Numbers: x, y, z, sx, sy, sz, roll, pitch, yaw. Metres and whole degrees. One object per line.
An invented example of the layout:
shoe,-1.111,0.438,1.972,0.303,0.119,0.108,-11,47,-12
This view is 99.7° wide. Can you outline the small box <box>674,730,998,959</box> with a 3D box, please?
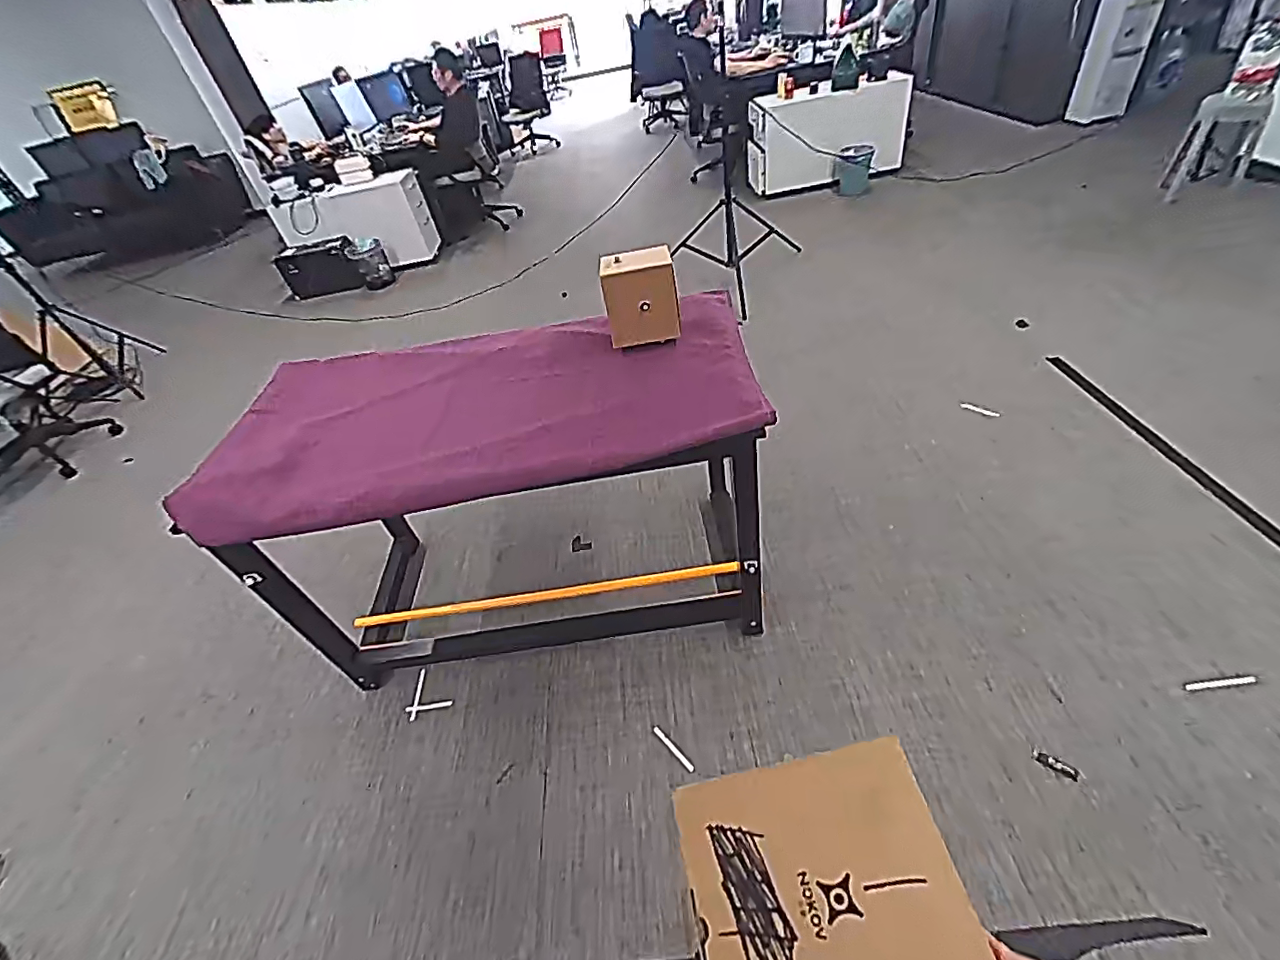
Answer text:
small box,0.139,0.316,0.419,0.179,0.176,0.168,-16,53,4
